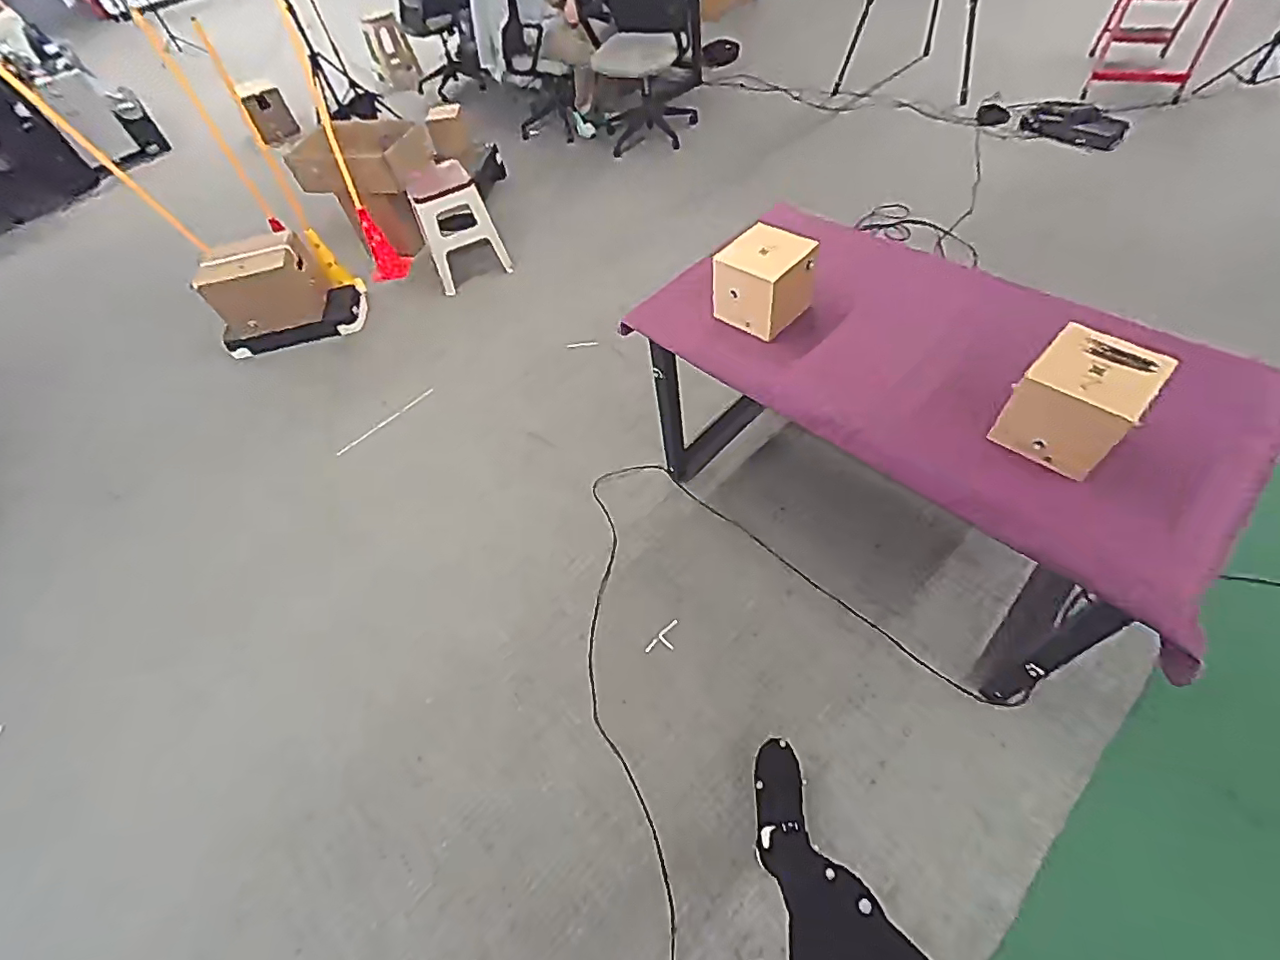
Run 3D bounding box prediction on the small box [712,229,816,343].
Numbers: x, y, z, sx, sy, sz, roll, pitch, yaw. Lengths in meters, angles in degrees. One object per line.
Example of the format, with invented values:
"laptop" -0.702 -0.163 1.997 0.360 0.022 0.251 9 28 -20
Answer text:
"small box" 0.289 -0.454 1.273 0.168 0.176 0.179 35 65 28
